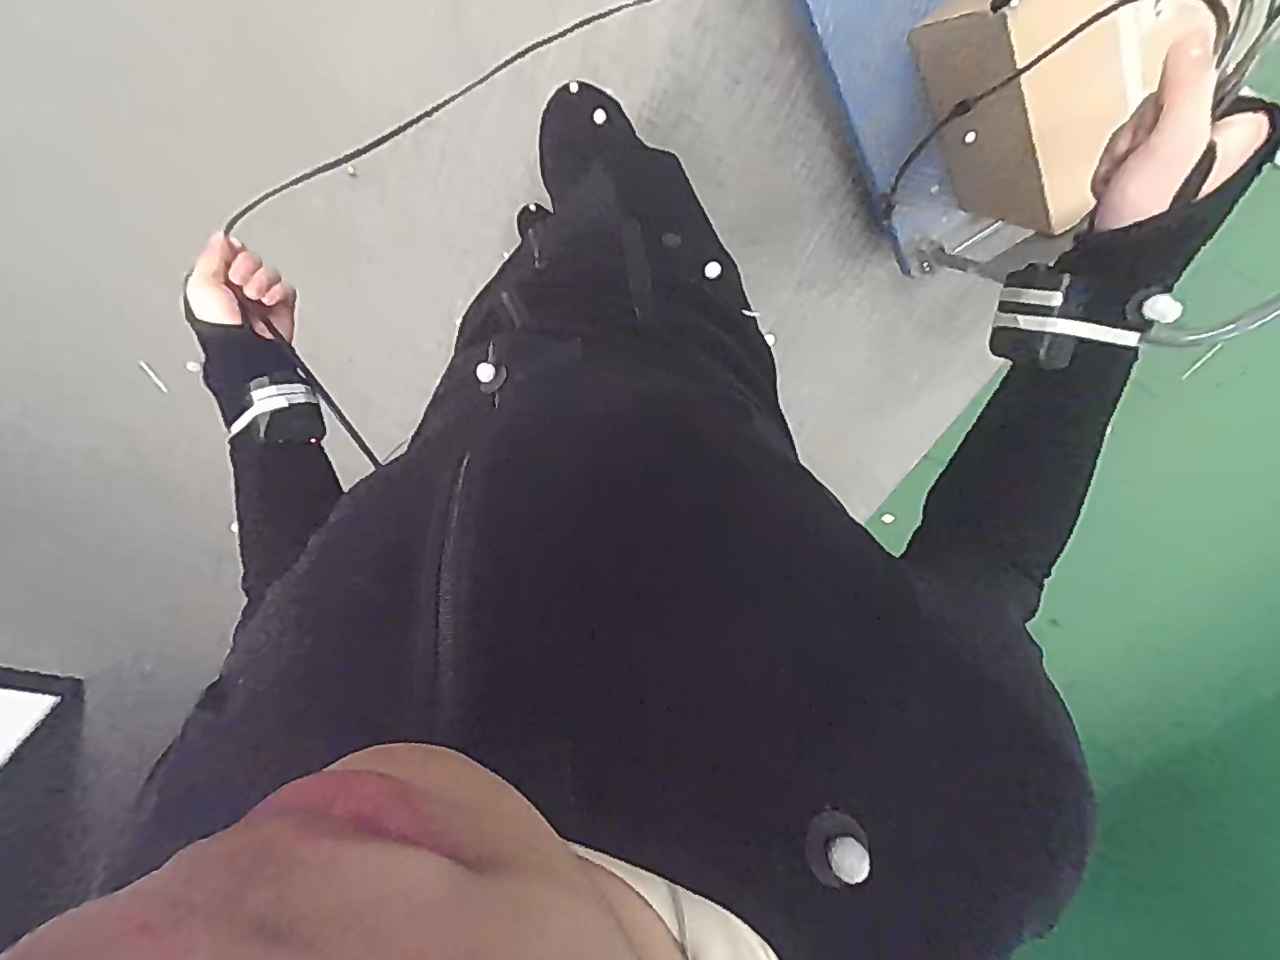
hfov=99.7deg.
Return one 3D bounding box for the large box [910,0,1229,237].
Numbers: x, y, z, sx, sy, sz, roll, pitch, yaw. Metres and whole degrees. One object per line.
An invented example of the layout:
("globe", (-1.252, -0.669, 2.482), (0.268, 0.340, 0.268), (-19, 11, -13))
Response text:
("large box", (0.780, -0.747, 1.012), (0.320, 0.320, 0.408), (-32, 121, 16))
